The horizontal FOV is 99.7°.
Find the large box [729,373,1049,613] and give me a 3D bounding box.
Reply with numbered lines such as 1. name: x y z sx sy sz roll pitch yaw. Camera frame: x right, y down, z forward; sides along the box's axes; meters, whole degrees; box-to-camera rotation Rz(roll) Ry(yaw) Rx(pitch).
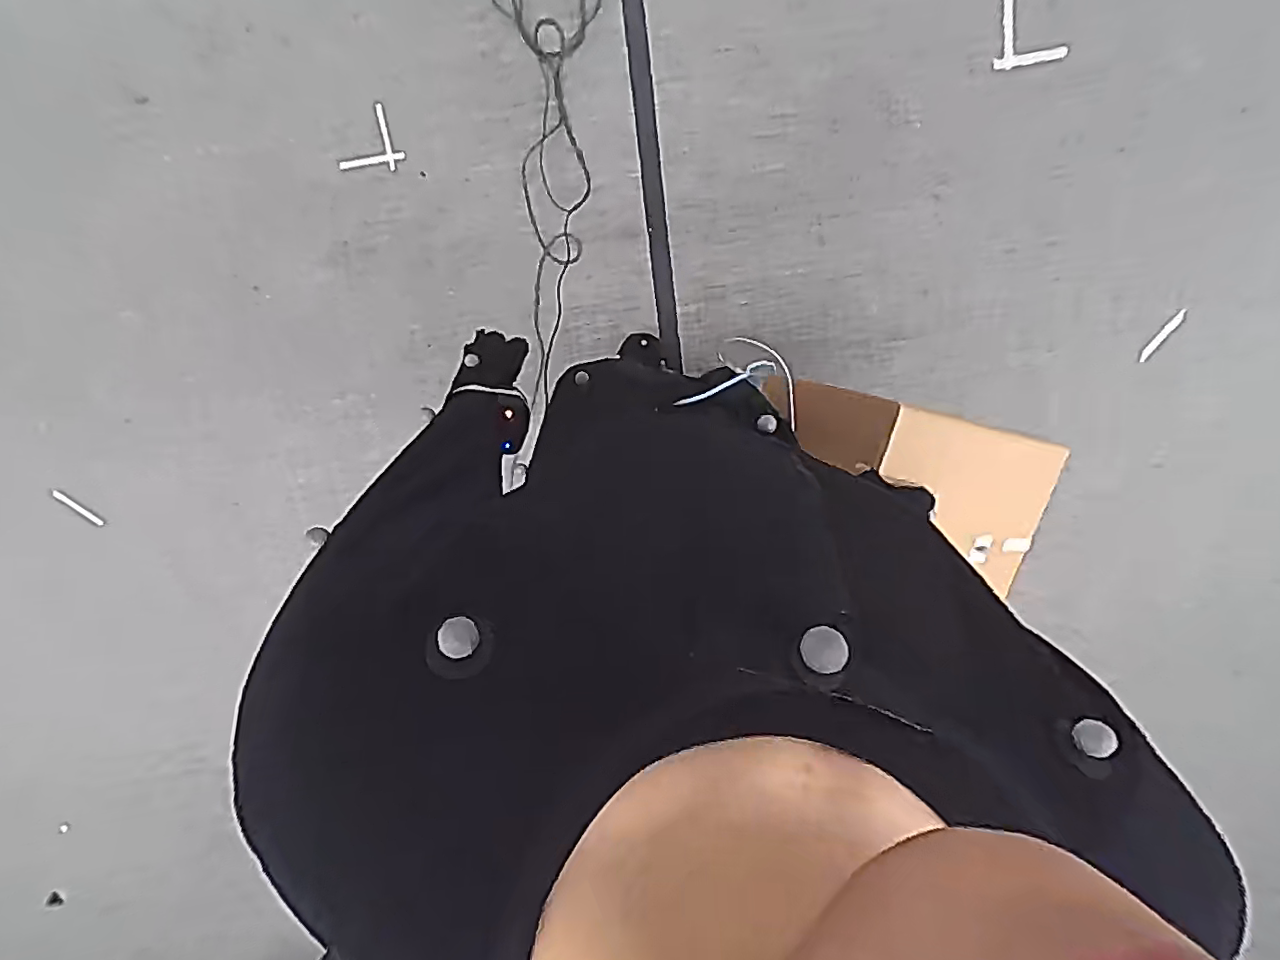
1. large box: 0.408 0.003 0.990 0.320 0.408 0.320 10 104 -15
